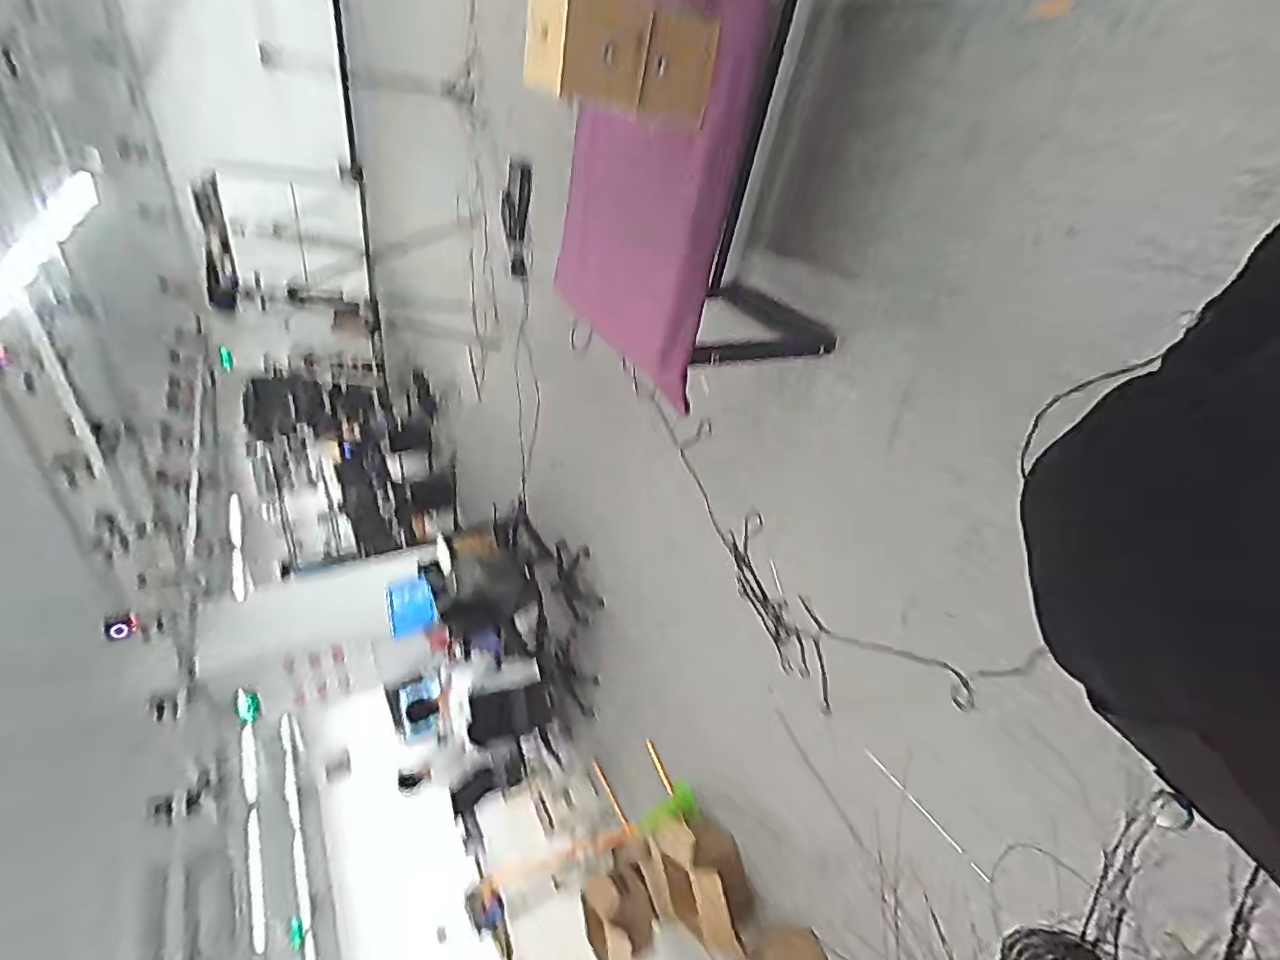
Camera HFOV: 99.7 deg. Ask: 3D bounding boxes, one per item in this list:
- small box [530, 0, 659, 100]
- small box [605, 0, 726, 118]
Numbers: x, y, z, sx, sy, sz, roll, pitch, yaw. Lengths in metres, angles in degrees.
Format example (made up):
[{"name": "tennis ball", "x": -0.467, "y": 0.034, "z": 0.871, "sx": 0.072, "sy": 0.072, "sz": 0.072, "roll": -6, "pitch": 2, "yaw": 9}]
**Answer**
[{"name": "small box", "x": -0.087, "y": -0.819, "z": 0.994, "sx": 0.179, "sy": 0.176, "sz": 0.168, "roll": 51, "pitch": 140, "yaw": 38}, {"name": "small box", "x": 0.048, "y": -0.846, "z": 1.083, "sx": 0.168, "sy": 0.176, "sz": 0.179, "roll": 49, "pitch": 139, "yaw": 40}]
